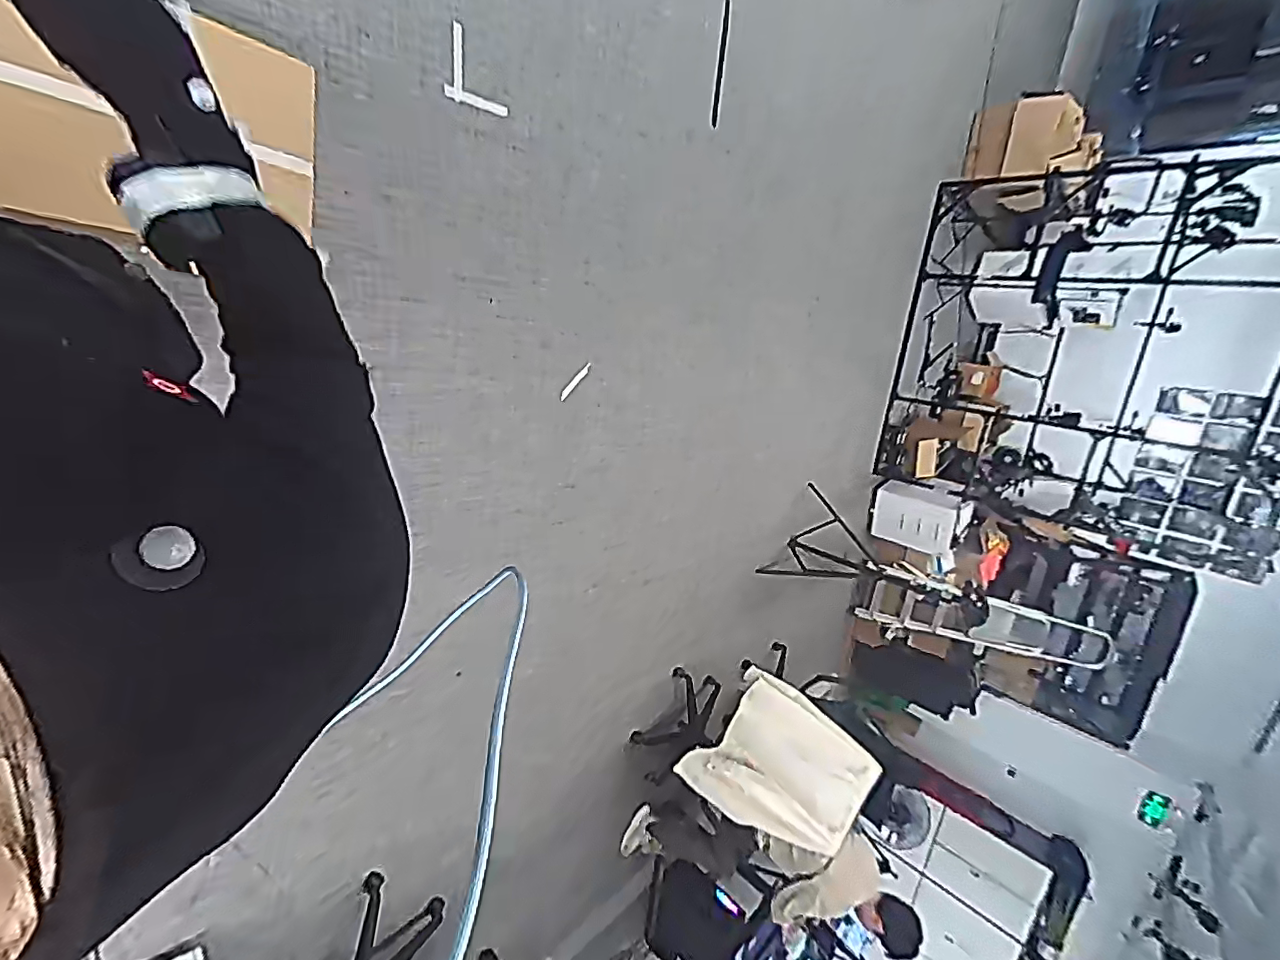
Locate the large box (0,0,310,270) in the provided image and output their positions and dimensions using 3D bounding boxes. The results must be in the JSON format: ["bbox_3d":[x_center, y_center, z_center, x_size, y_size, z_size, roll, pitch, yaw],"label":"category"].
[{"bbox_3d":[-0.795,-0.533,0.850,0.408,0.320,0.320,-5,109,-47],"label":"large box"}]
